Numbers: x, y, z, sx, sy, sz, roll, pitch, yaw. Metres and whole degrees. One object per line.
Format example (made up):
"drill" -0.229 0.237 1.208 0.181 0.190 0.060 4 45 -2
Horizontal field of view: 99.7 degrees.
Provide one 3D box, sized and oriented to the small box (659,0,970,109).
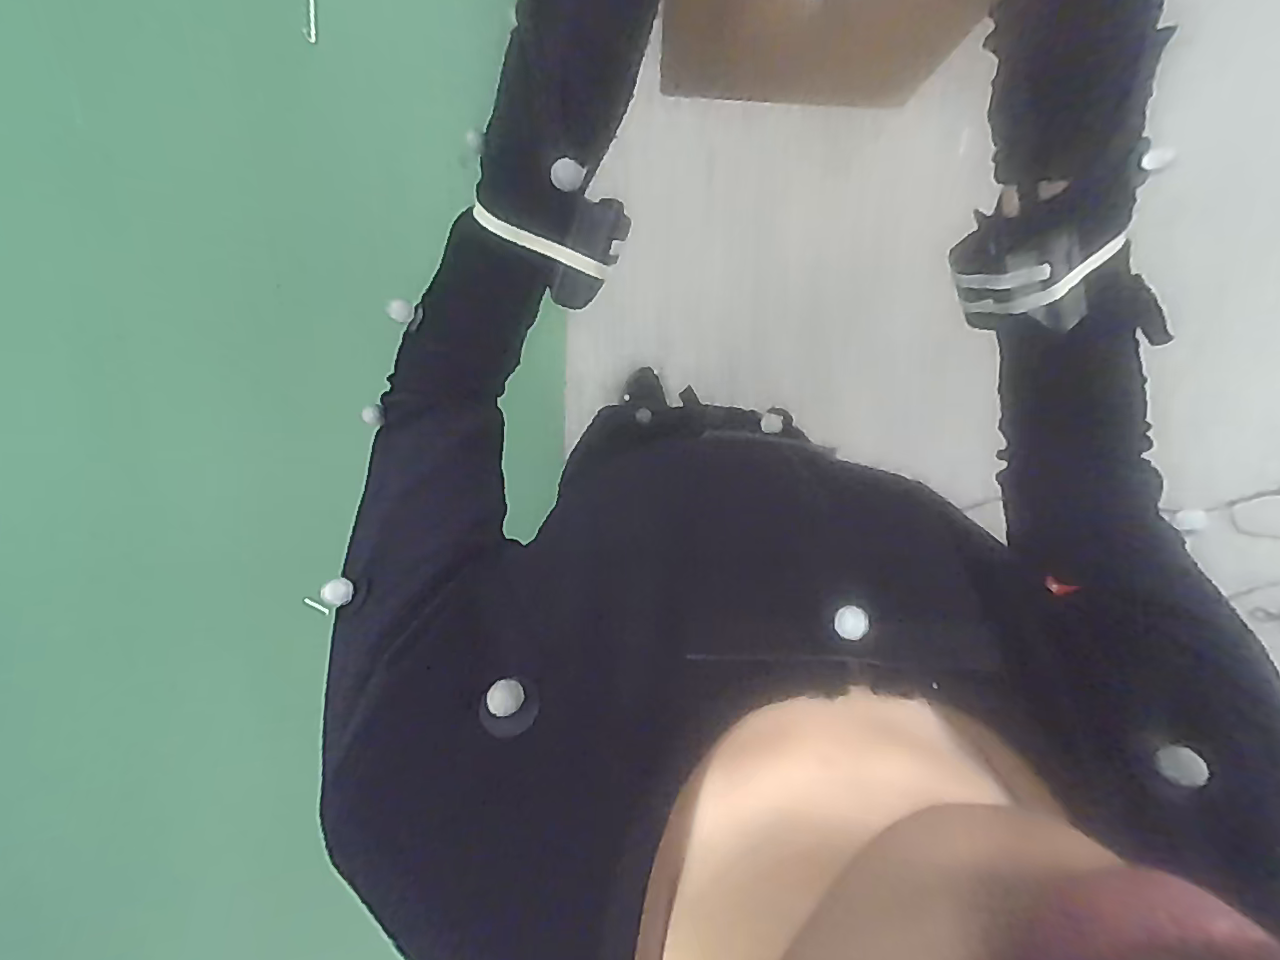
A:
"small box" 0.102 -0.337 0.298 0.179 0.176 0.168 3 99 -1
